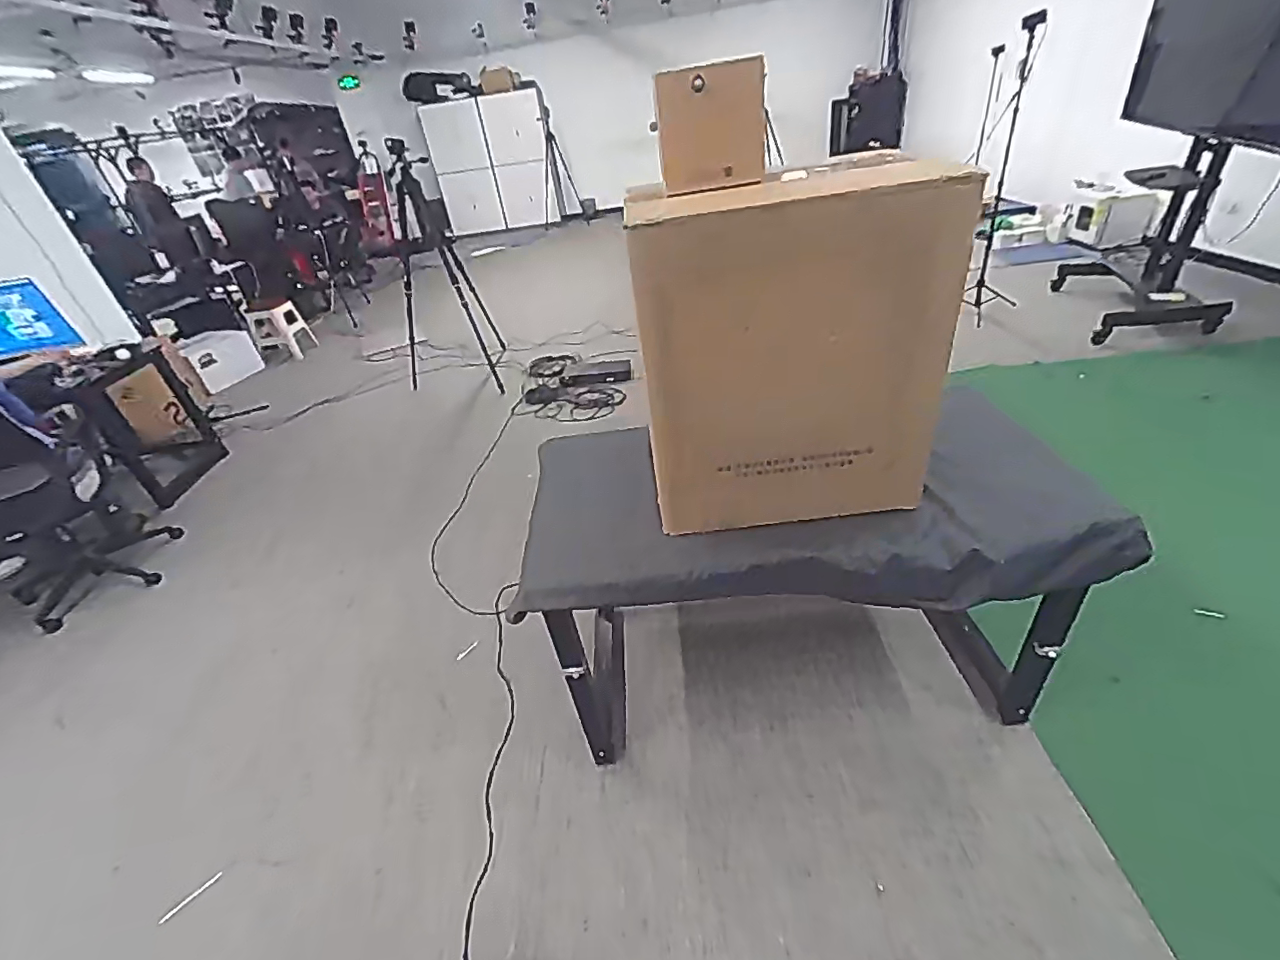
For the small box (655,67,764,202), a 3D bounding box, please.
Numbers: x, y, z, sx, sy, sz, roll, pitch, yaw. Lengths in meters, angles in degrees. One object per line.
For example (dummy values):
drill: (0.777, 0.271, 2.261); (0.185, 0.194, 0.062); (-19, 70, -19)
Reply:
small box: (0.115, -0.585, 0.929); (0.168, 0.176, 0.179); (-7, 32, 4)
